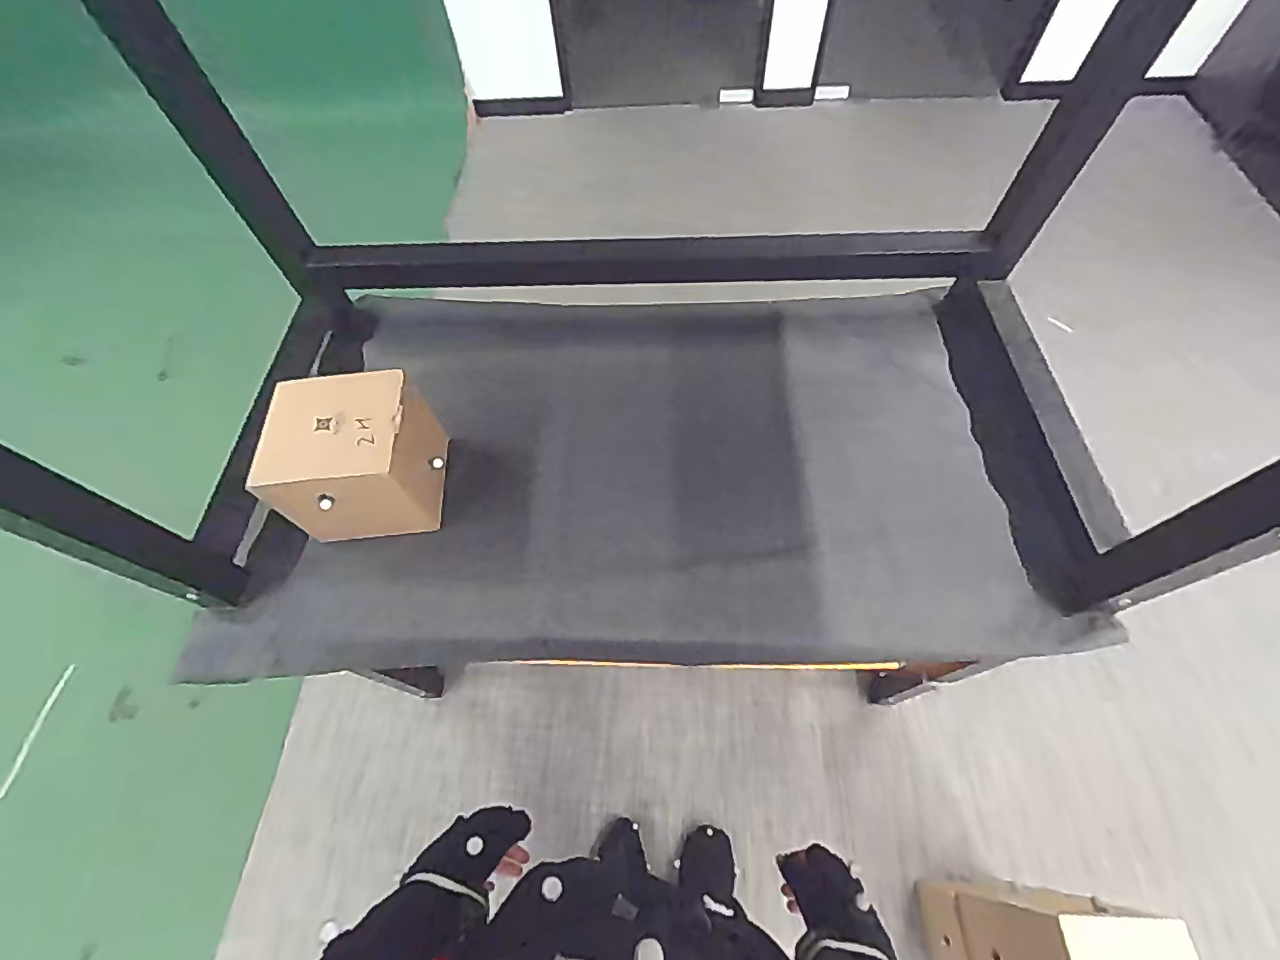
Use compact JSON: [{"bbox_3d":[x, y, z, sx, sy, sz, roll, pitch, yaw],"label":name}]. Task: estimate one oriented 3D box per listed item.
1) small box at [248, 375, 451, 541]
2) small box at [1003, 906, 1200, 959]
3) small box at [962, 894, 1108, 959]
[{"bbox_3d":[-0.386,-0.023,0.755,0.179,0.176,0.168,-5,60,-1],"label":"small box"},{"bbox_3d":[0.642,0.707,0.741,0.168,0.176,0.179,-1,60,3],"label":"small box"},{"bbox_3d":[0.664,0.795,0.878,0.168,0.176,0.179,-2,59,2],"label":"small box"}]
